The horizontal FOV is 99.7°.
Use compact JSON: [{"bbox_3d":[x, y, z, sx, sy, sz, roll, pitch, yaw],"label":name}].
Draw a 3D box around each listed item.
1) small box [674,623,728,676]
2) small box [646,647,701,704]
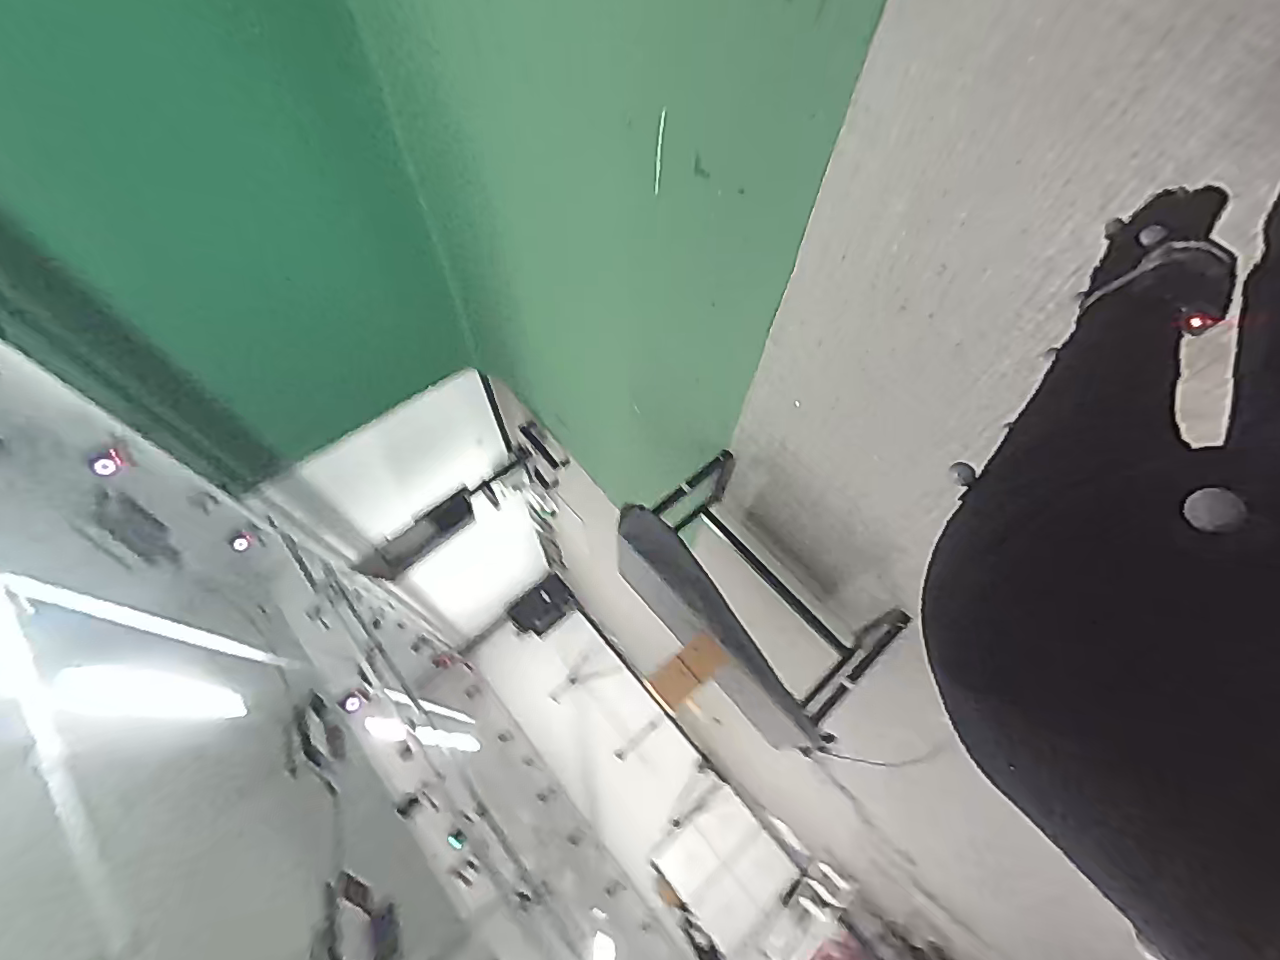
[{"bbox_3d":[0.269,0.767,2.445,0.179,0.176,0.168,44,161,19],"label":"small box"},{"bbox_3d":[0.144,0.860,2.391,0.179,0.176,0.168,46,162,19],"label":"small box"}]
